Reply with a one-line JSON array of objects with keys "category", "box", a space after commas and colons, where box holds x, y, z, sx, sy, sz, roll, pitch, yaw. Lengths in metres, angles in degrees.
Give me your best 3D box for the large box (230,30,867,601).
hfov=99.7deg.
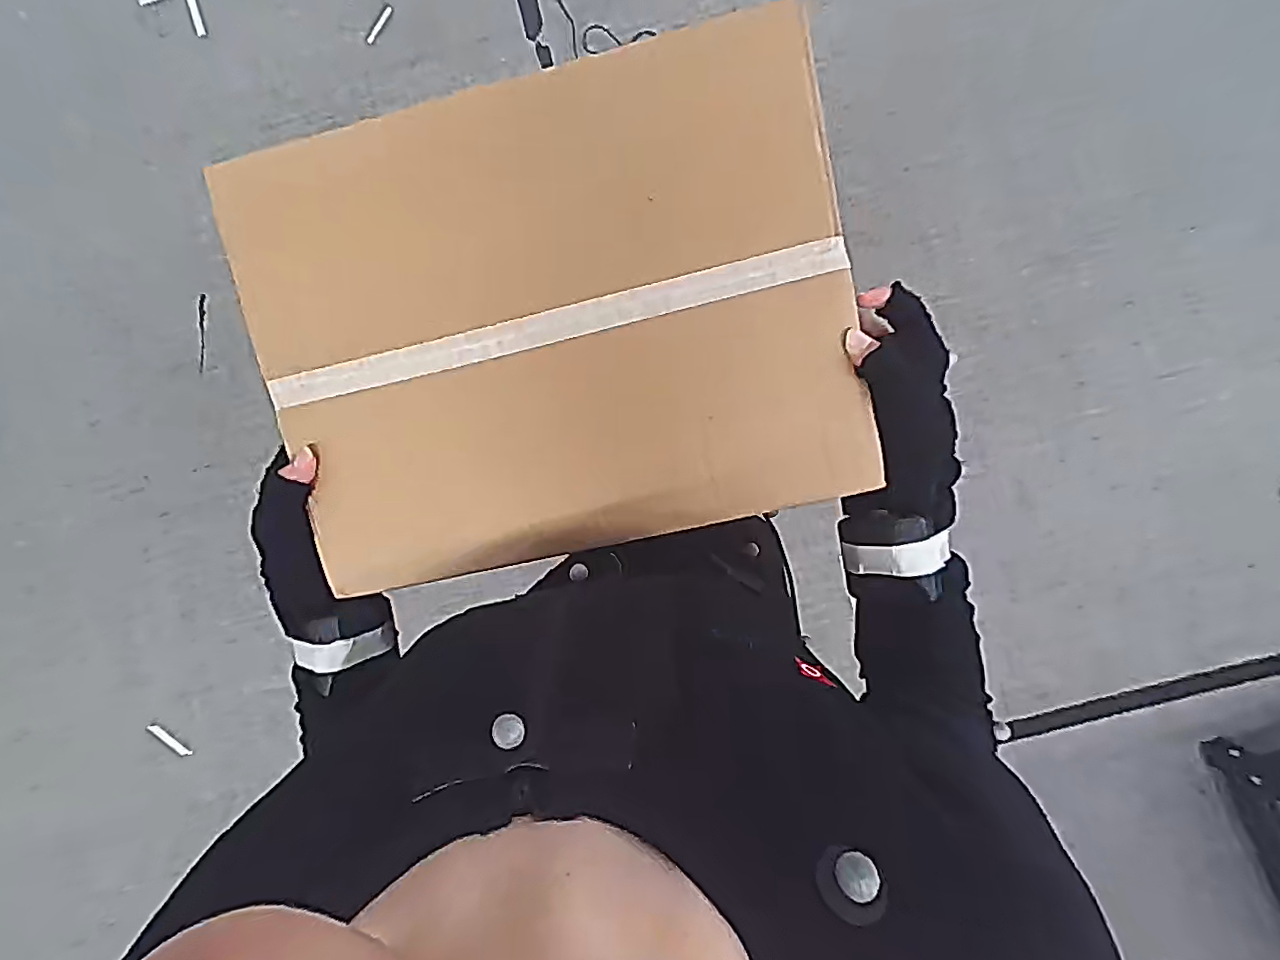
[{"category": "large box", "box": [-0.054, -0.118, 0.528, 0.408, 0.320, 0.320, -12, 96, 6]}]
